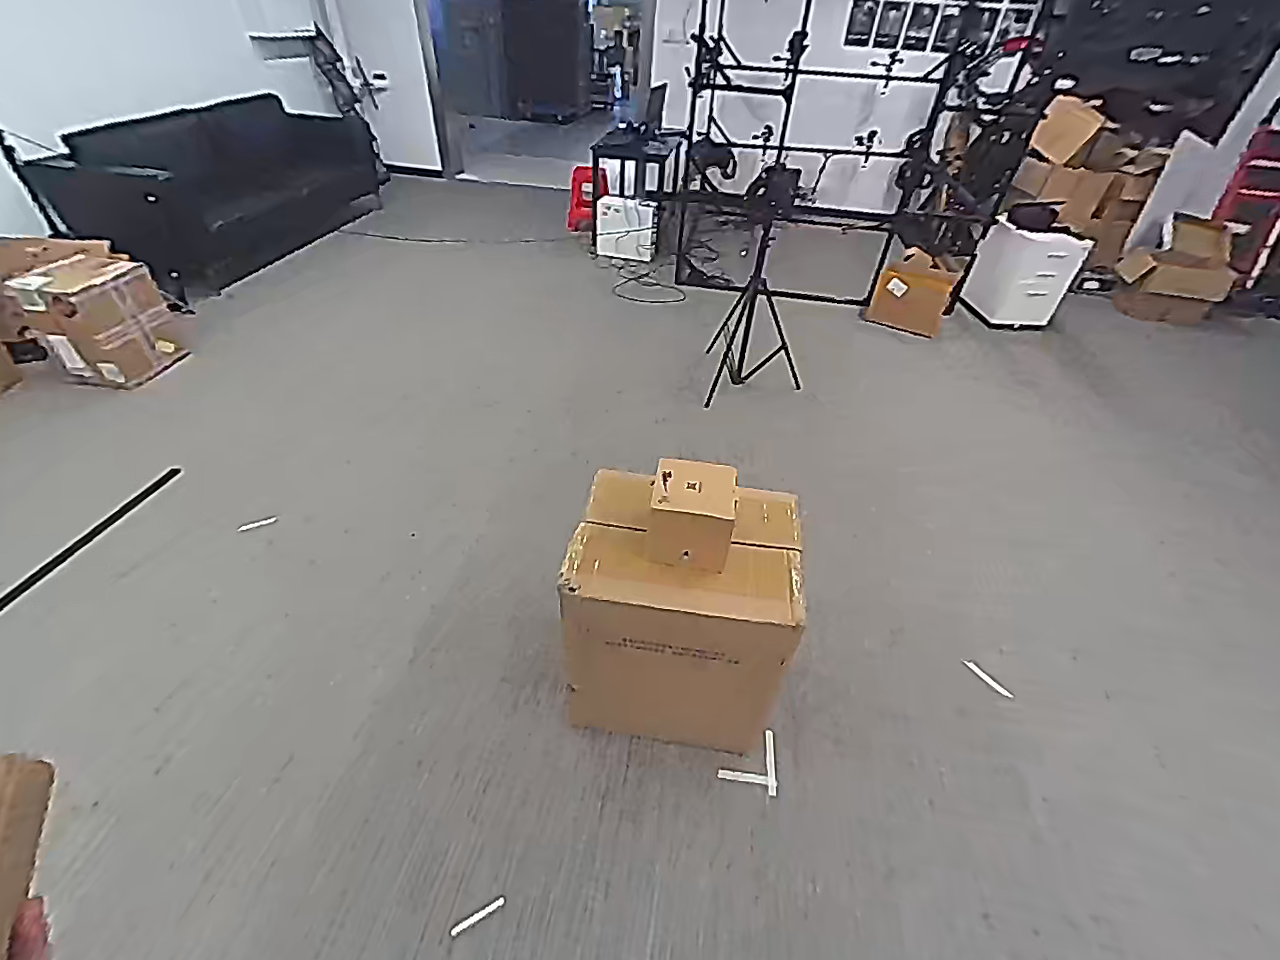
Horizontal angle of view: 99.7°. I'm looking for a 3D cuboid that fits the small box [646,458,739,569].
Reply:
[{"bbox_3d":[0.114,0.077,1.192,0.179,0.176,0.168,8,42,5],"label":"small box"}]
